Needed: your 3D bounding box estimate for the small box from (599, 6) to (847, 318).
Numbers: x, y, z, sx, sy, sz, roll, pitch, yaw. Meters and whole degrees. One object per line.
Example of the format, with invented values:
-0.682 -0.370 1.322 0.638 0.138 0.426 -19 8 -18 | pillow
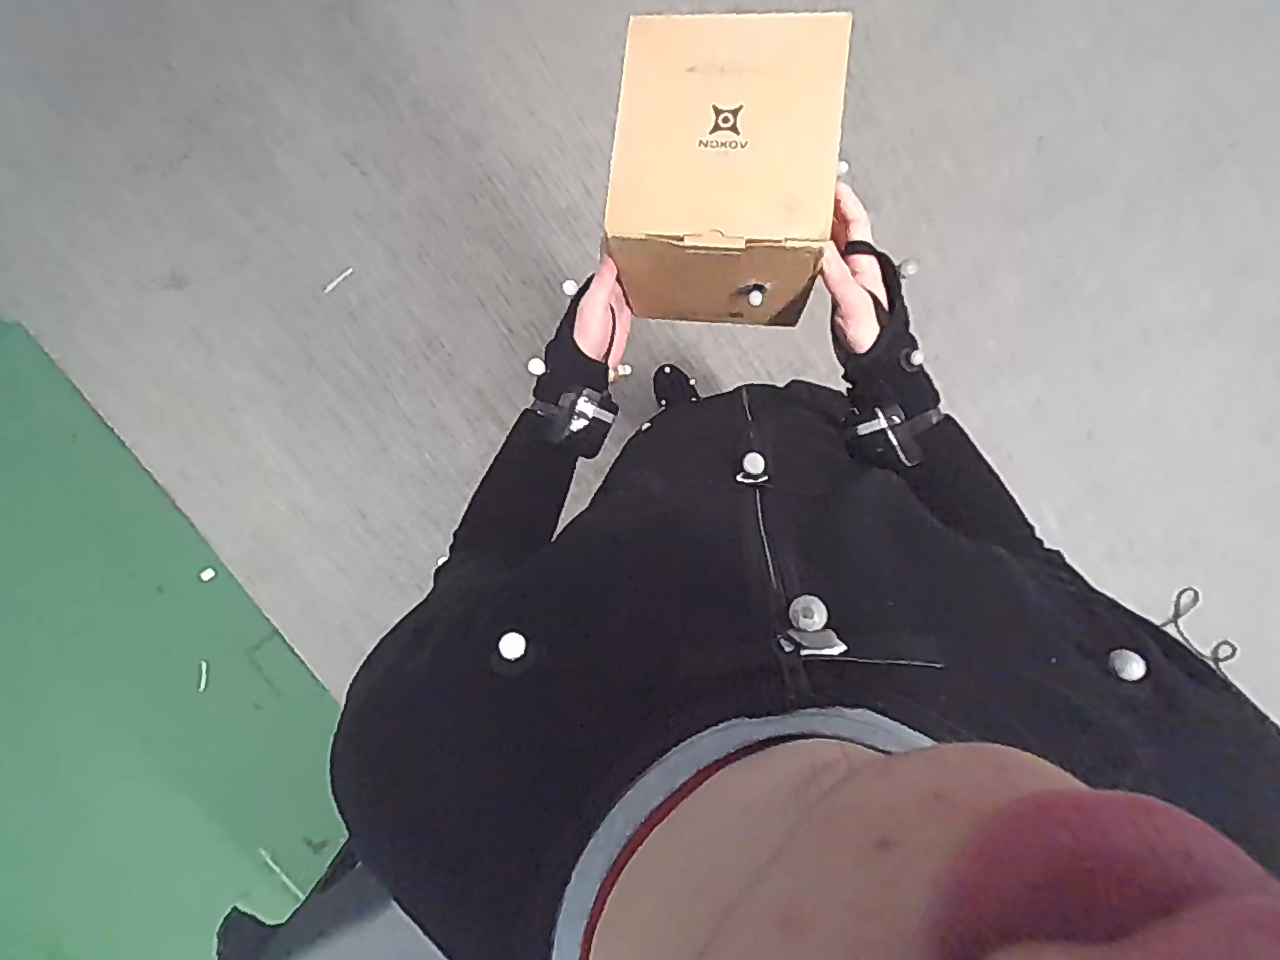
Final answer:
0.068 -0.256 0.472 0.168 0.176 0.179 6 86 7 | small box
